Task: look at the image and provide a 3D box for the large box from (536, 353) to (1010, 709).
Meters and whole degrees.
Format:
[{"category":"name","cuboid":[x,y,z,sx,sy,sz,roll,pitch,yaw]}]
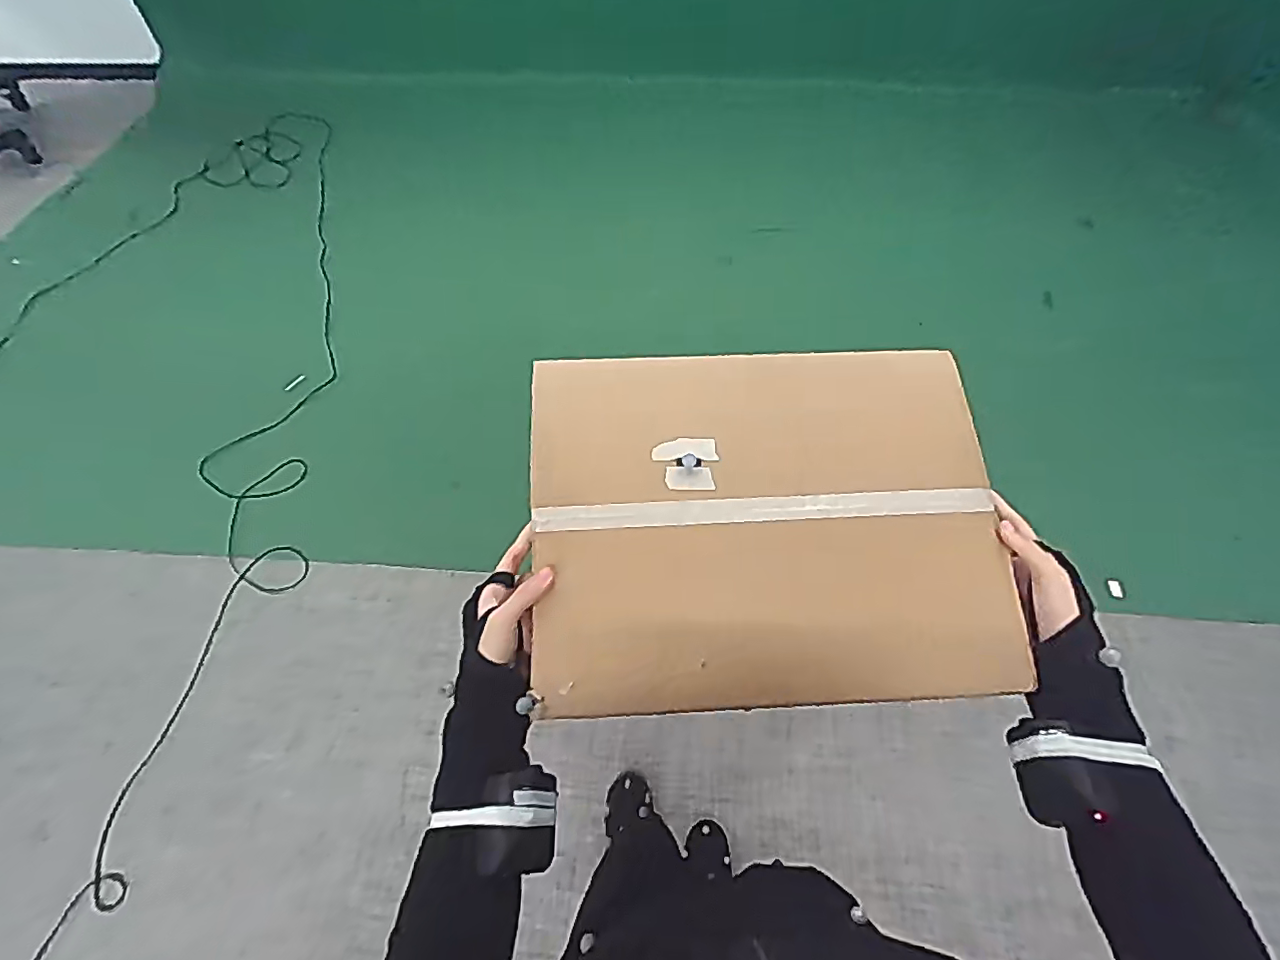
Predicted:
[{"category":"large box","cuboid":[0.106,0.074,0.633,0.408,0.320,0.320,-3,72,-2]}]
